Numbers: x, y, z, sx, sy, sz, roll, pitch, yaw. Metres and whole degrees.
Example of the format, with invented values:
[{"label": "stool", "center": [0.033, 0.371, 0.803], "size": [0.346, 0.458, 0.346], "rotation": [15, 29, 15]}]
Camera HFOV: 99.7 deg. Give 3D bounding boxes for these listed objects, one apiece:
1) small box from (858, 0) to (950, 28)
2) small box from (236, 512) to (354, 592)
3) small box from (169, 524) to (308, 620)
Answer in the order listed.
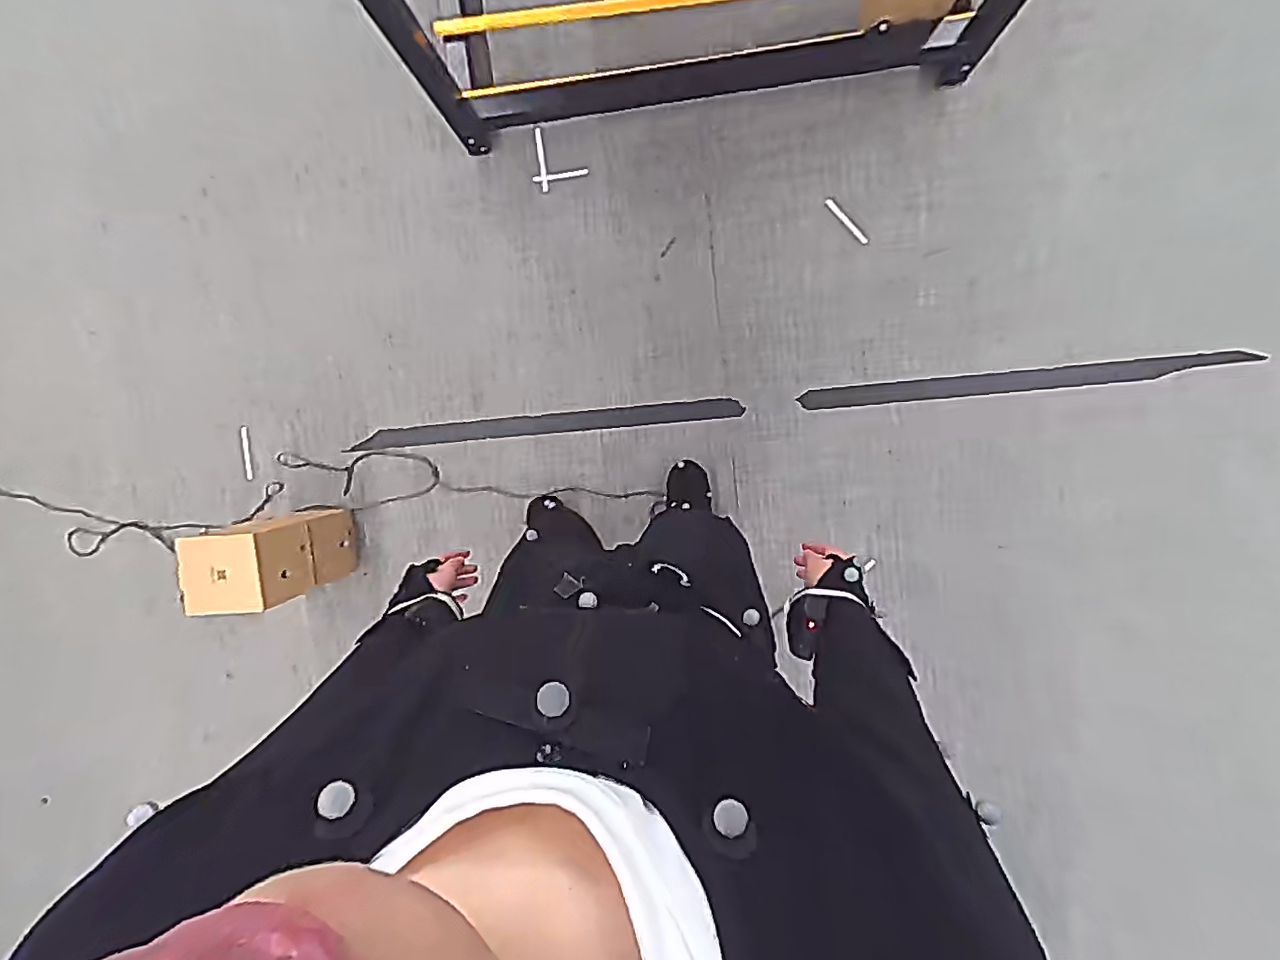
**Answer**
[{"label": "small box", "center": [0.534, -1.029, 1.052], "size": [0.168, 0.176, 0.179], "rotation": [-5, 93, 5]}, {"label": "small box", "center": [-0.842, 0.175, 1.332], "size": [0.179, 0.176, 0.168], "rotation": [-4, 96, 4]}, {"label": "small box", "center": [-0.852, 0.192, 1.171], "size": [0.179, 0.176, 0.168], "rotation": [-4, 95, 5]}]
